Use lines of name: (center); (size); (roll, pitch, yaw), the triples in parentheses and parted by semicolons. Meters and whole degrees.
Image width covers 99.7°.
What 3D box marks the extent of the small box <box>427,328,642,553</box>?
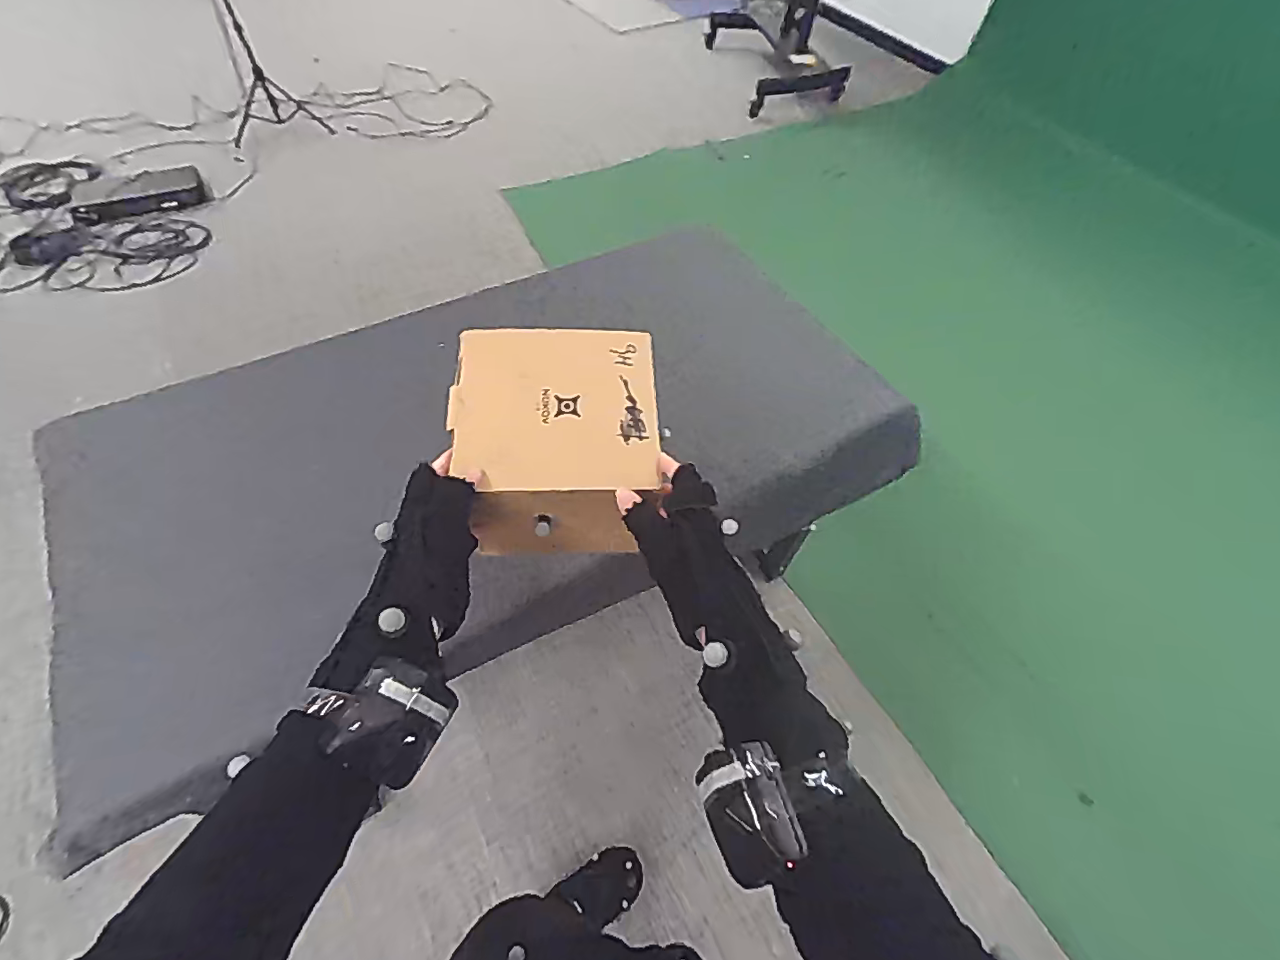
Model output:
small box: (-0.094, -0.031, 0.540); (0.179, 0.176, 0.168); (-3, 65, -5)
